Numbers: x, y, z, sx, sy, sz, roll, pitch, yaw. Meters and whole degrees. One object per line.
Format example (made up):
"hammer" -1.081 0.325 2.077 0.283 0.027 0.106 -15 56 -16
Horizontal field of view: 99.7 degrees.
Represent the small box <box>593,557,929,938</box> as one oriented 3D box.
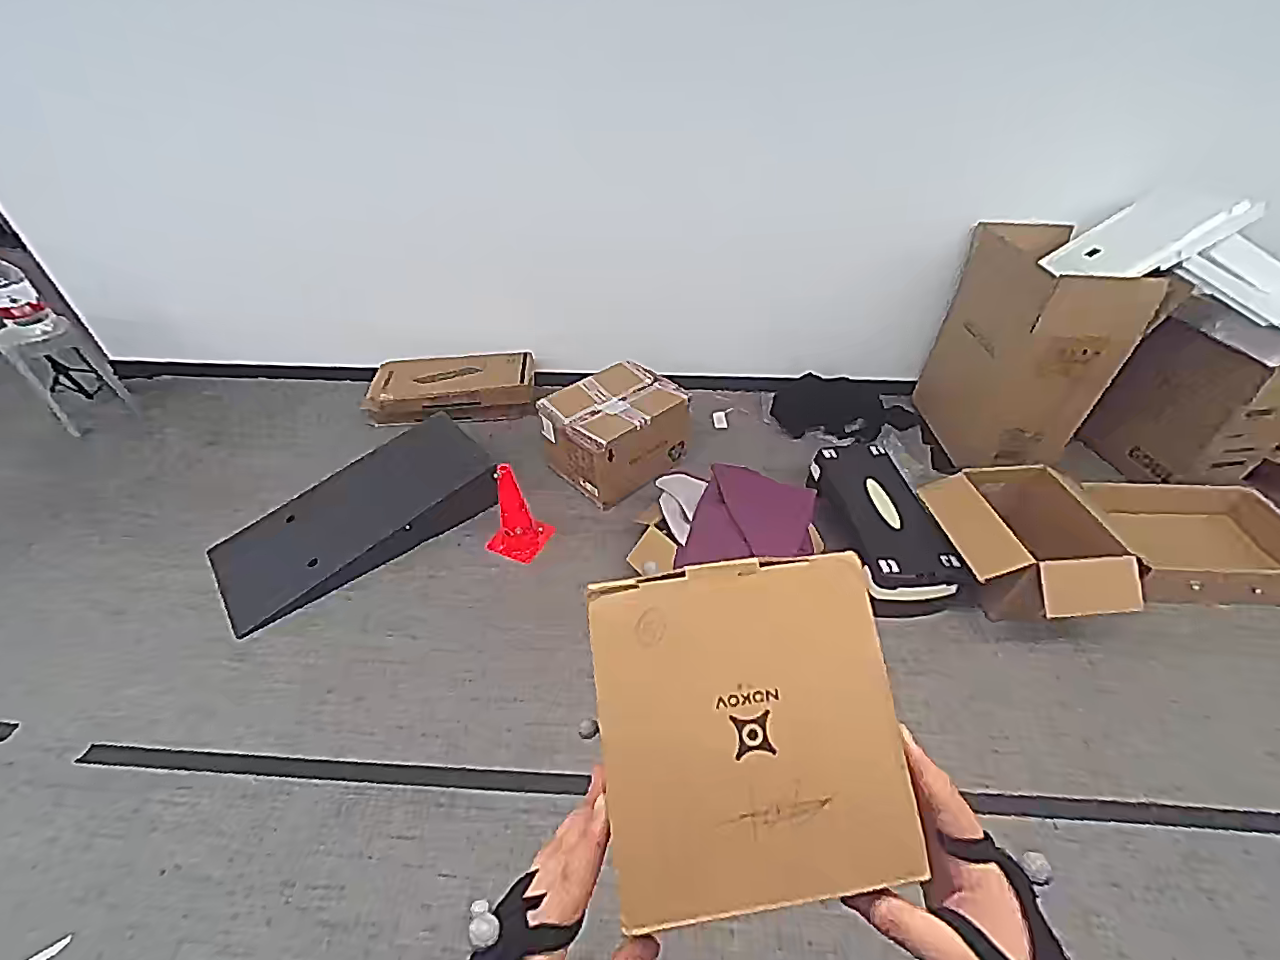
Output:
"small box" 0.056 0.159 0.373 0.168 0.176 0.179 -6 75 -4
